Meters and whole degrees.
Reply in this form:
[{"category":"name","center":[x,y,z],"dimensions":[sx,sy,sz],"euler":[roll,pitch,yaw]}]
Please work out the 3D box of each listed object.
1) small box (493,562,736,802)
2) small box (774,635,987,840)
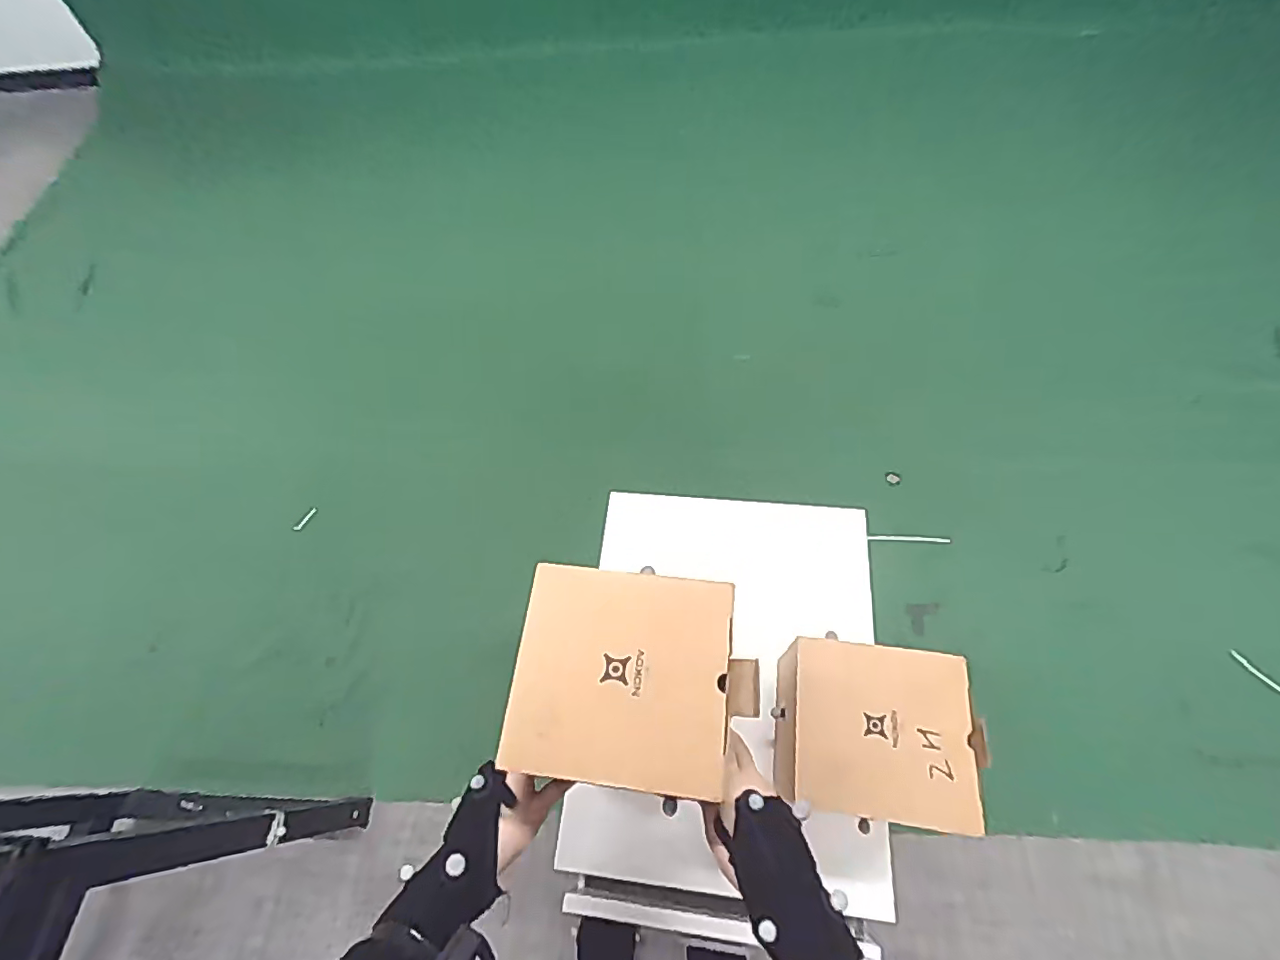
[{"category":"small box","center":[-0.009,0.186,0.496],"dimensions":[0.179,0.176,0.168],"euler":[4,64,6]},{"category":"small box","center":[0.250,0.283,0.607],"dimensions":[0.179,0.176,0.168],"euler":[6,64,8]}]
